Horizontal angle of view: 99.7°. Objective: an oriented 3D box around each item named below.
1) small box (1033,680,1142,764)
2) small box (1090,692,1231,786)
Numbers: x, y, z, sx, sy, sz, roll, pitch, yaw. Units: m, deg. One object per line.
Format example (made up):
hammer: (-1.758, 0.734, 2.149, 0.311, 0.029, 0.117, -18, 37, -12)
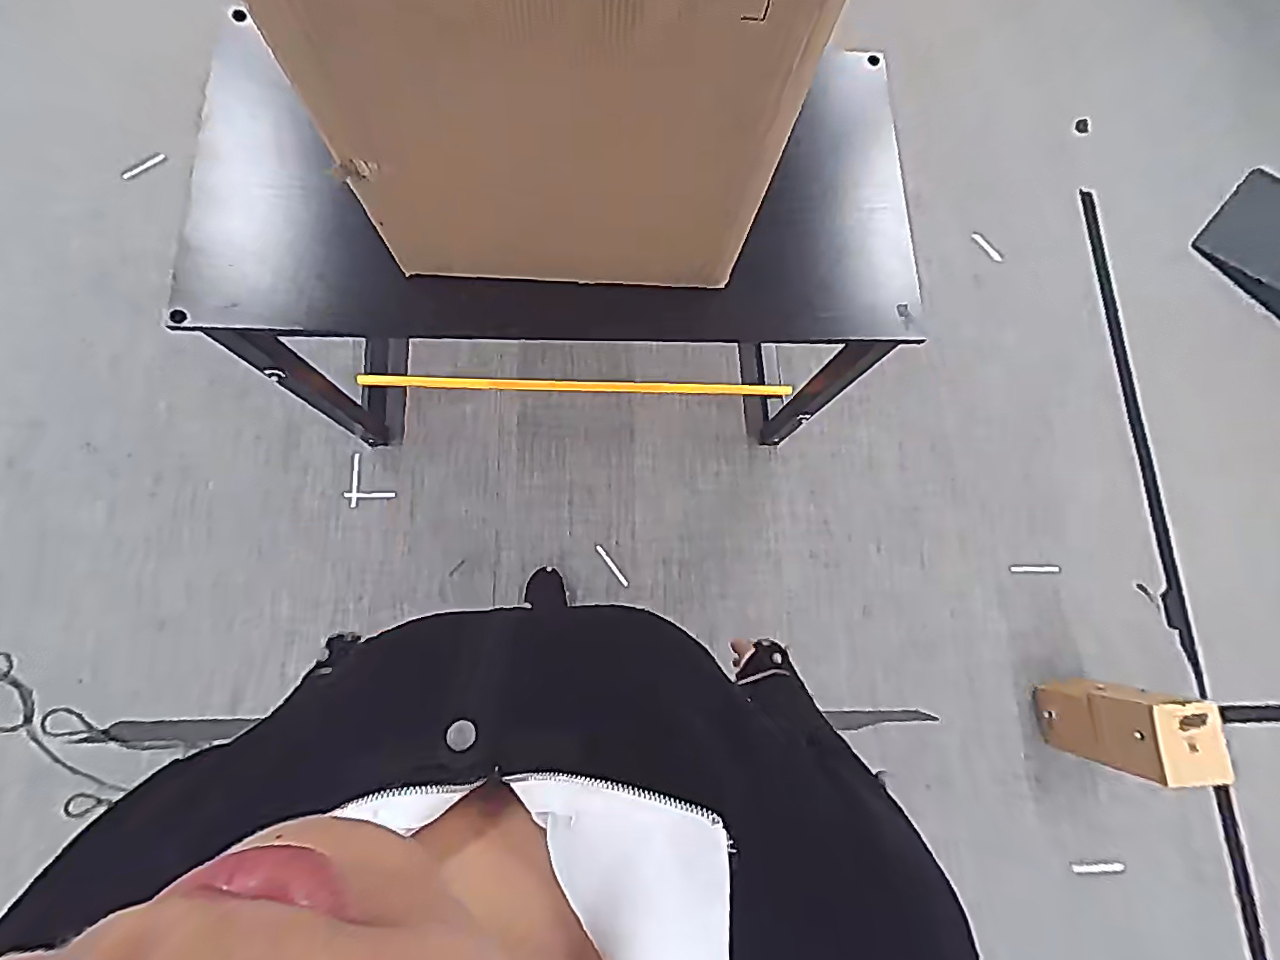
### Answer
small box: (1.223, 0.647, 1.463, 0.179, 0.176, 0.168, -5, 78, -5)
small box: (1.238, 0.613, 1.302, 0.168, 0.176, 0.179, -1, 78, -5)
